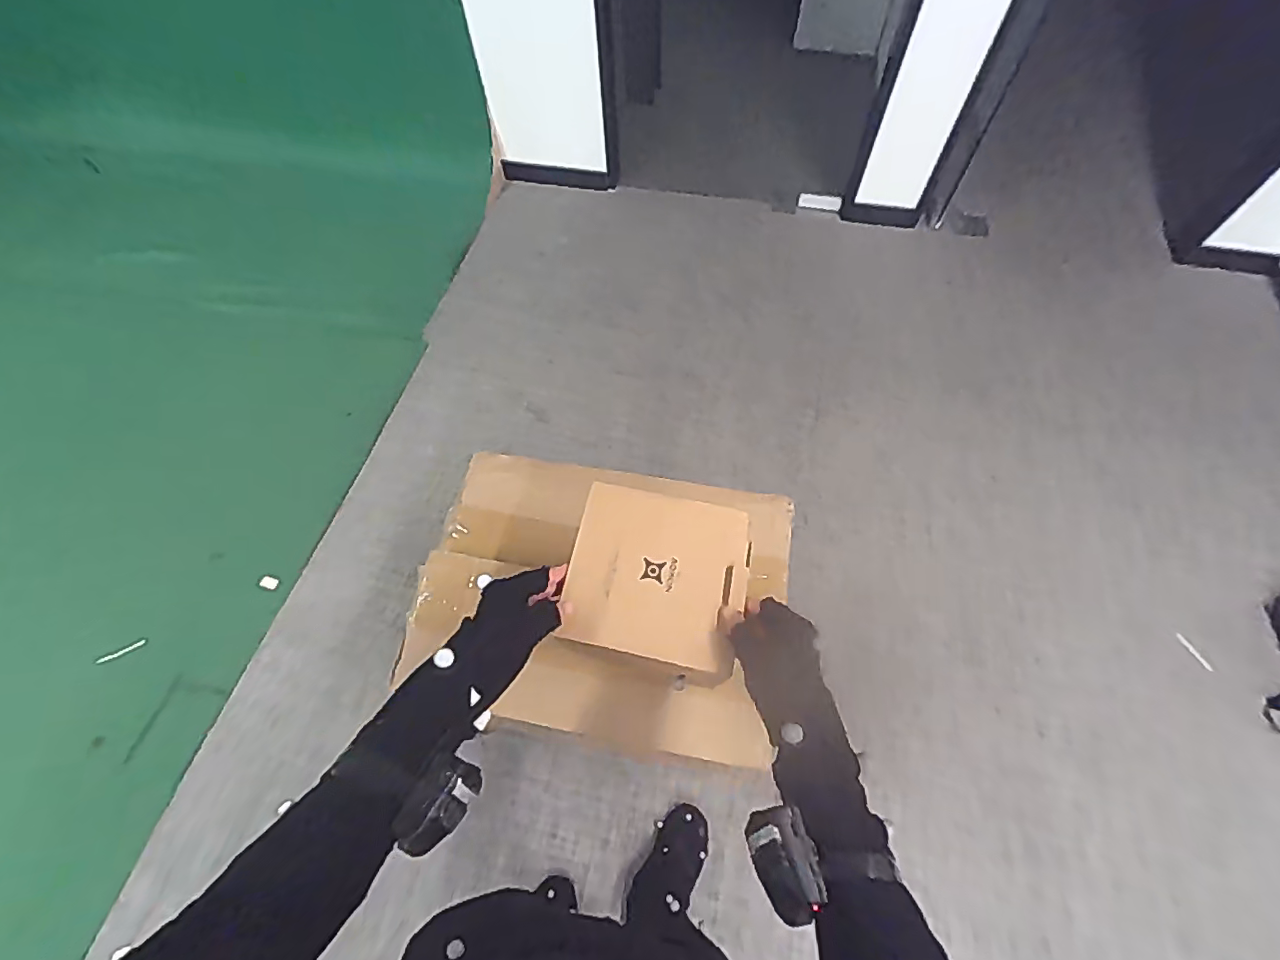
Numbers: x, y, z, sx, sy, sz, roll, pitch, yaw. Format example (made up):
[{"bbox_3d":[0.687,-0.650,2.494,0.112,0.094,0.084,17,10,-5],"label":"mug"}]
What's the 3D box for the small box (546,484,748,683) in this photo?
[{"bbox_3d":[0.014,0.124,0.607,0.179,0.176,0.168,9,65,7],"label":"small box"}]
